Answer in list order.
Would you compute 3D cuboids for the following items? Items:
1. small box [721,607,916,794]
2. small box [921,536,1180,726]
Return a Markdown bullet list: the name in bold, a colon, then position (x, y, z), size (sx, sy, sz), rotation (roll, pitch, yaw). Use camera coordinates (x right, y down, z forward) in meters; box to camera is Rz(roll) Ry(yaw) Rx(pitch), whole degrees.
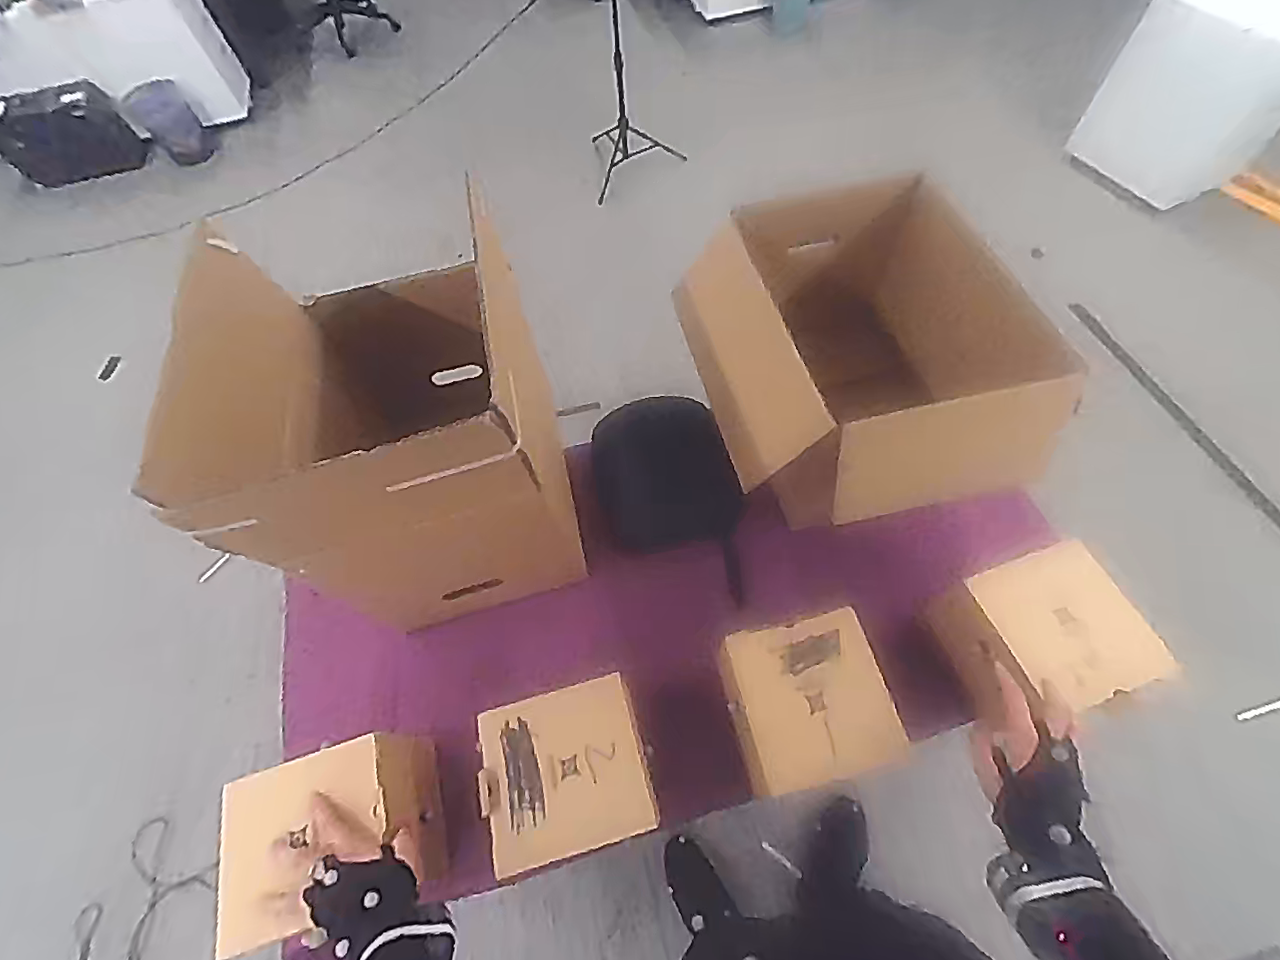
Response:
- **small box**: position (0.207, 0.284, 0.690), size (0.168, 0.176, 0.179), rotation (-13, 62, -3)
- **small box**: position (0.509, 0.203, 0.708), size (0.168, 0.176, 0.179), rotation (-19, 62, -5)
